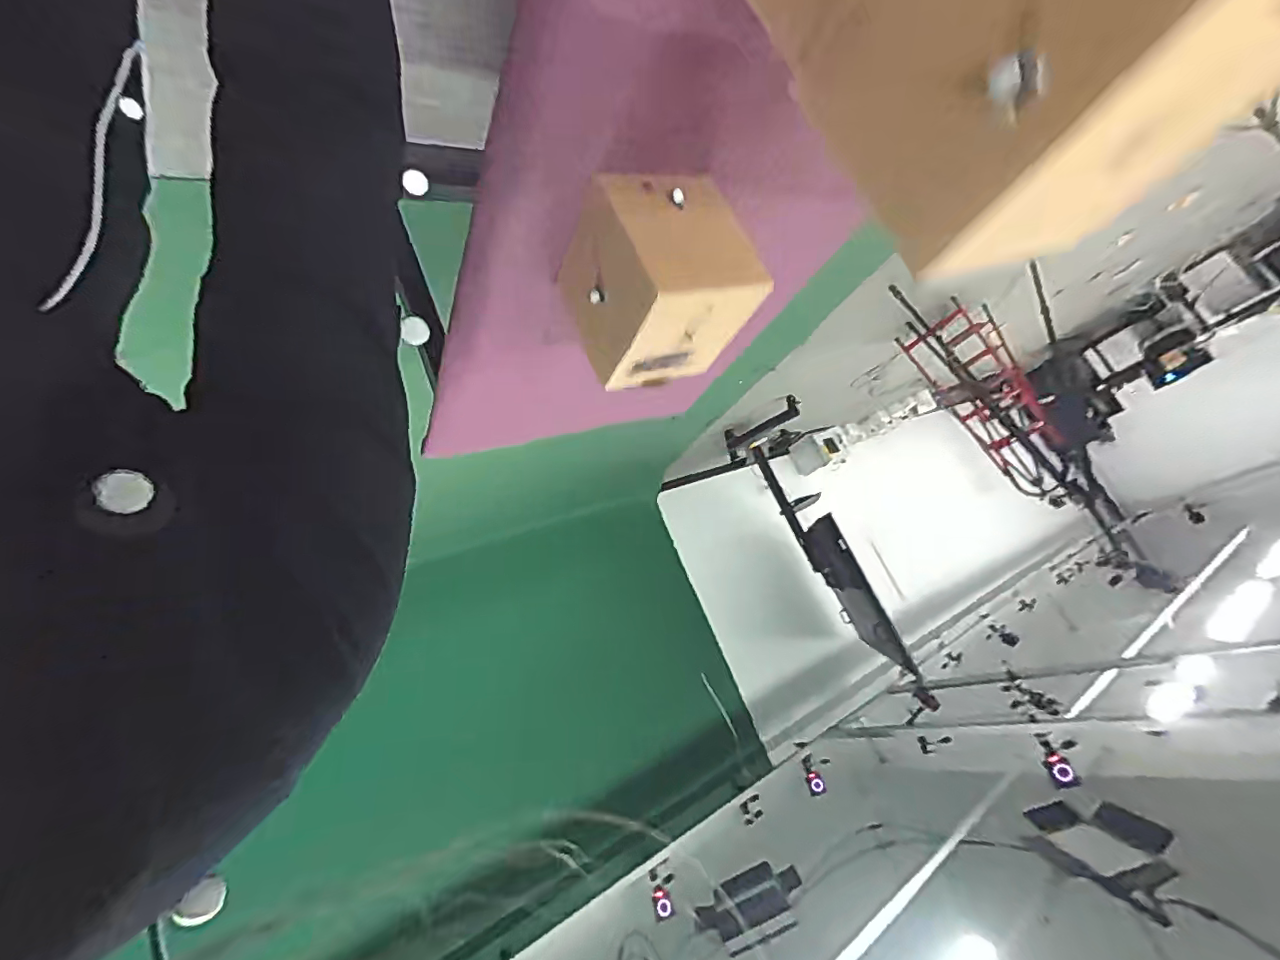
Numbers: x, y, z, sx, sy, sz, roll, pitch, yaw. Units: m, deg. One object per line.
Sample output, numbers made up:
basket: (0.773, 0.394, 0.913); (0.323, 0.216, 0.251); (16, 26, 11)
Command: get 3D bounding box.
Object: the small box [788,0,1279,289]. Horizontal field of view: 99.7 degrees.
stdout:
small box: (0.214, -0.246, 0.316); (0.168, 0.176, 0.179); (-19, 165, -23)
